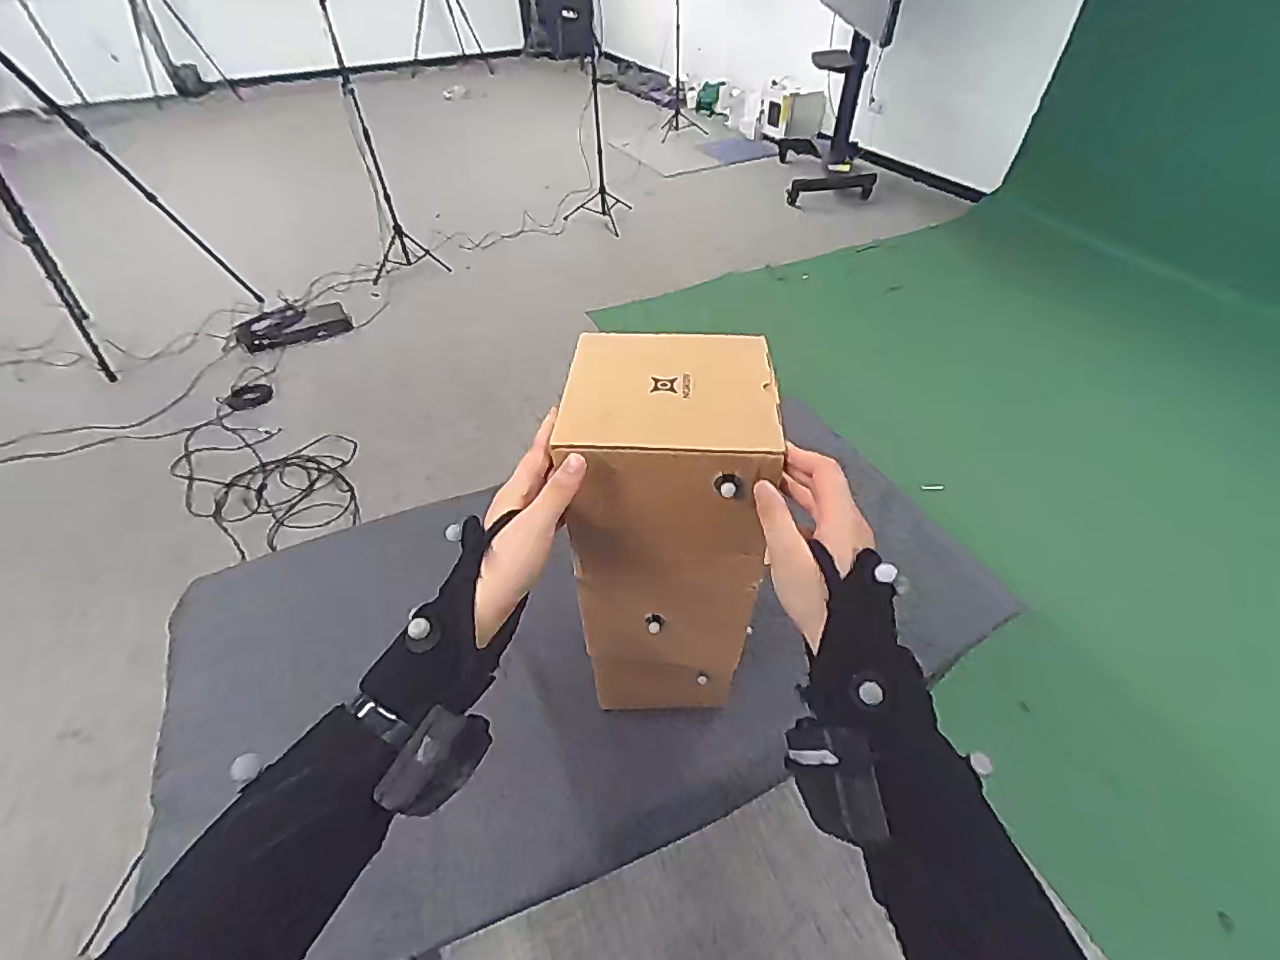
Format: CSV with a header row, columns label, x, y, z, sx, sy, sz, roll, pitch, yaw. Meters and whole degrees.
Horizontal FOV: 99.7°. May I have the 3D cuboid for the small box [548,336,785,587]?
label,x,y,z,sx,sy,sz,roll,pitch,yaw
small box,0.025,-0.016,0.500,0.179,0.176,0.168,2,45,3

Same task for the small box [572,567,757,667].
label,x,y,z,sx,sy,sz,roll,pitch,yaw
small box,0.032,0.097,0.617,0.179,0.176,0.168,3,45,6
